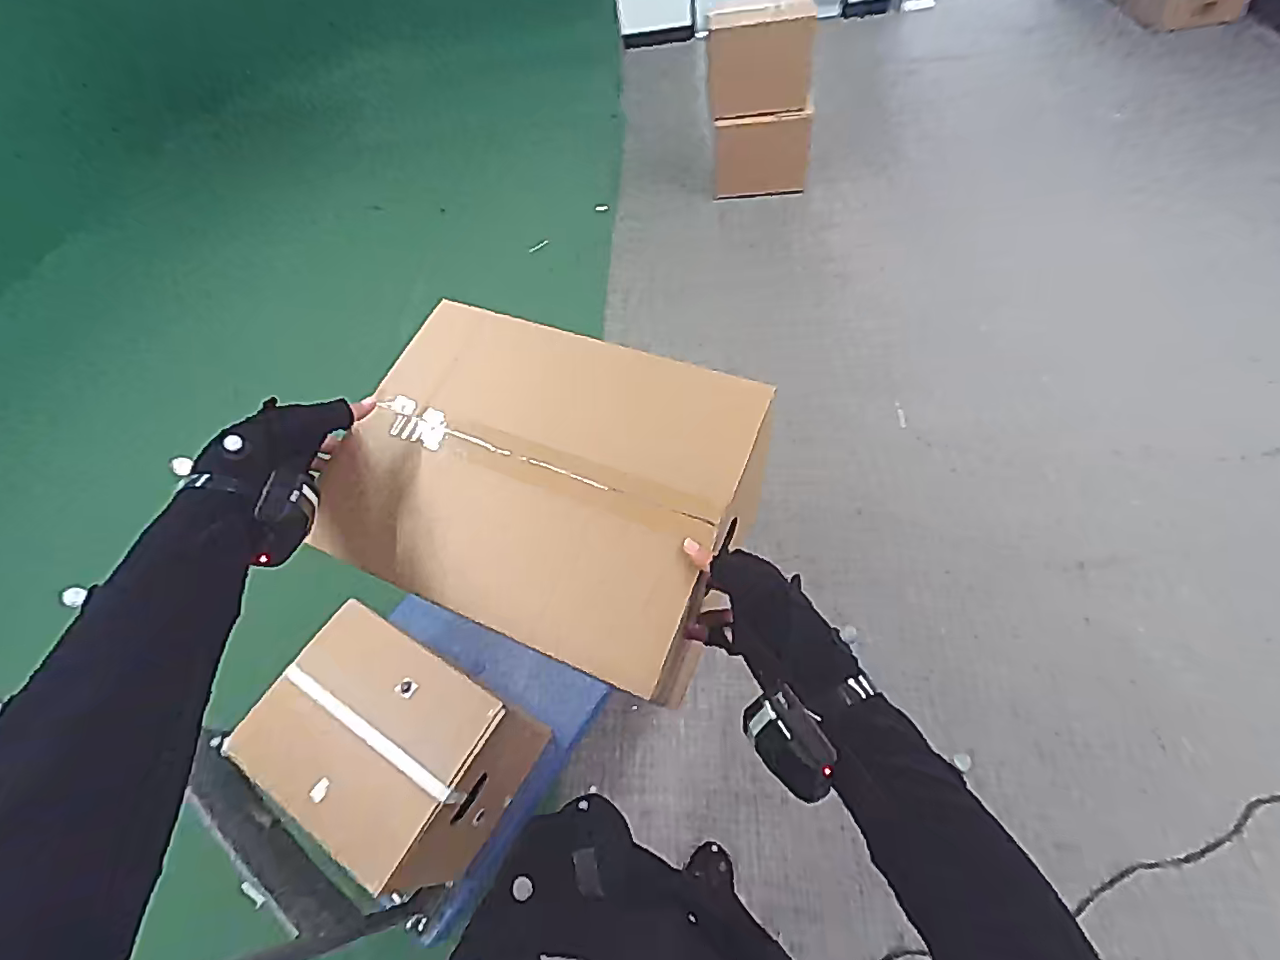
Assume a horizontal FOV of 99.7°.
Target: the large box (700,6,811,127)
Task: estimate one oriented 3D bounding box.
[{"bbox_3d":[0.455,-1.696,2.225,0.408,0.320,0.320,-1,53,6],"label":"large box"}]
